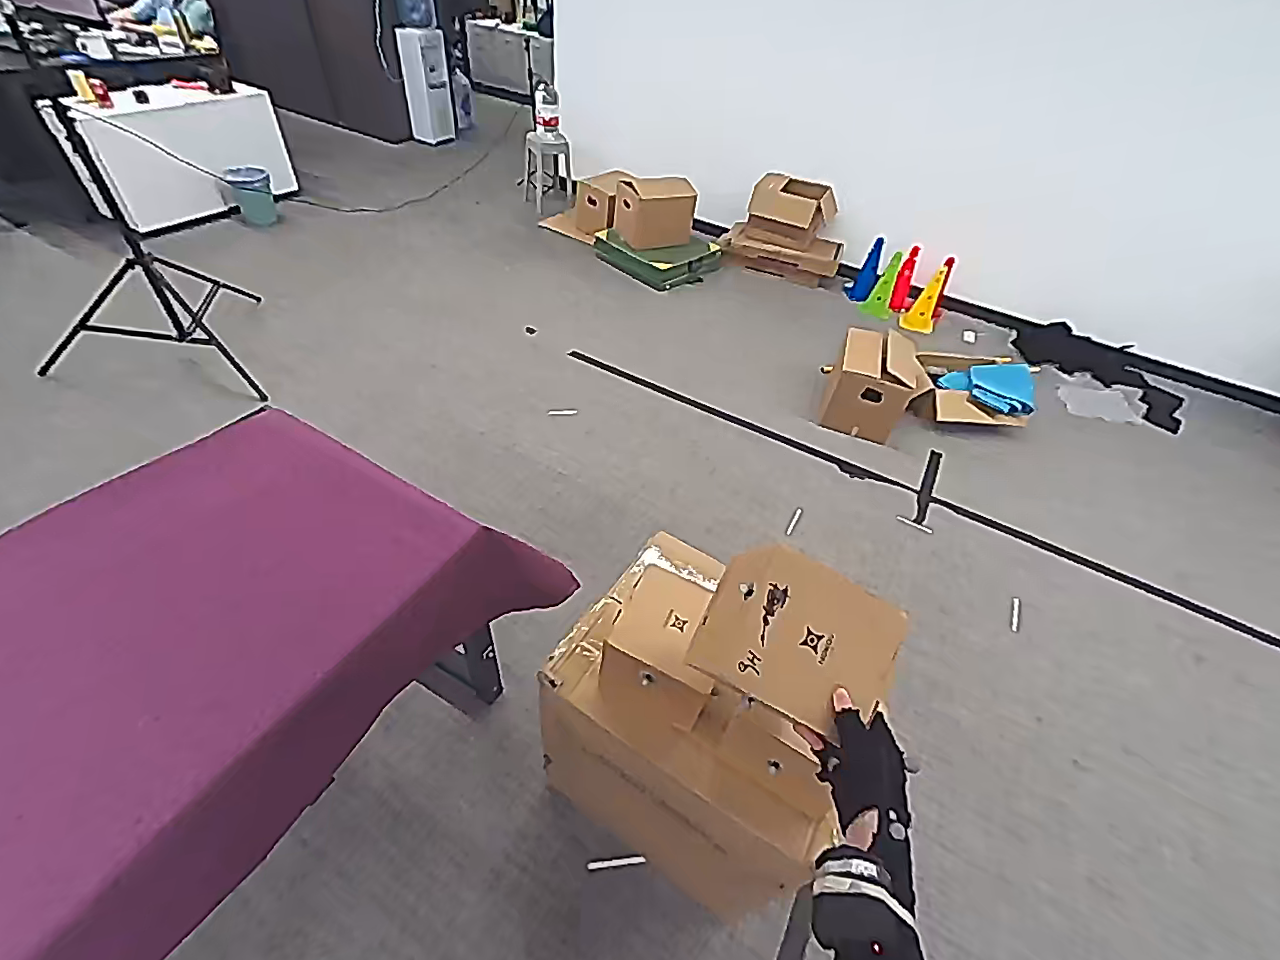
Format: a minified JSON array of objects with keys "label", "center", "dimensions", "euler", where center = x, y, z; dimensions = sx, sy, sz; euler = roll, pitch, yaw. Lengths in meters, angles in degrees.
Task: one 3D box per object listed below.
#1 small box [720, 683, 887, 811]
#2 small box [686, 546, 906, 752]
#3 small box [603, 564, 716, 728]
[{"label":"small box","center":[0.242,0.370,0.826],"dimensions":[0.179,0.176,0.168],"euler":[25,48,20]},{"label":"small box","center":[0.181,0.200,0.673],"dimensions":[0.179,0.176,0.168],"euler":[29,73,-1]},{"label":"small box","center":[0.050,0.278,0.895],"dimensions":[0.179,0.176,0.168],"euler":[24,48,14]}]
